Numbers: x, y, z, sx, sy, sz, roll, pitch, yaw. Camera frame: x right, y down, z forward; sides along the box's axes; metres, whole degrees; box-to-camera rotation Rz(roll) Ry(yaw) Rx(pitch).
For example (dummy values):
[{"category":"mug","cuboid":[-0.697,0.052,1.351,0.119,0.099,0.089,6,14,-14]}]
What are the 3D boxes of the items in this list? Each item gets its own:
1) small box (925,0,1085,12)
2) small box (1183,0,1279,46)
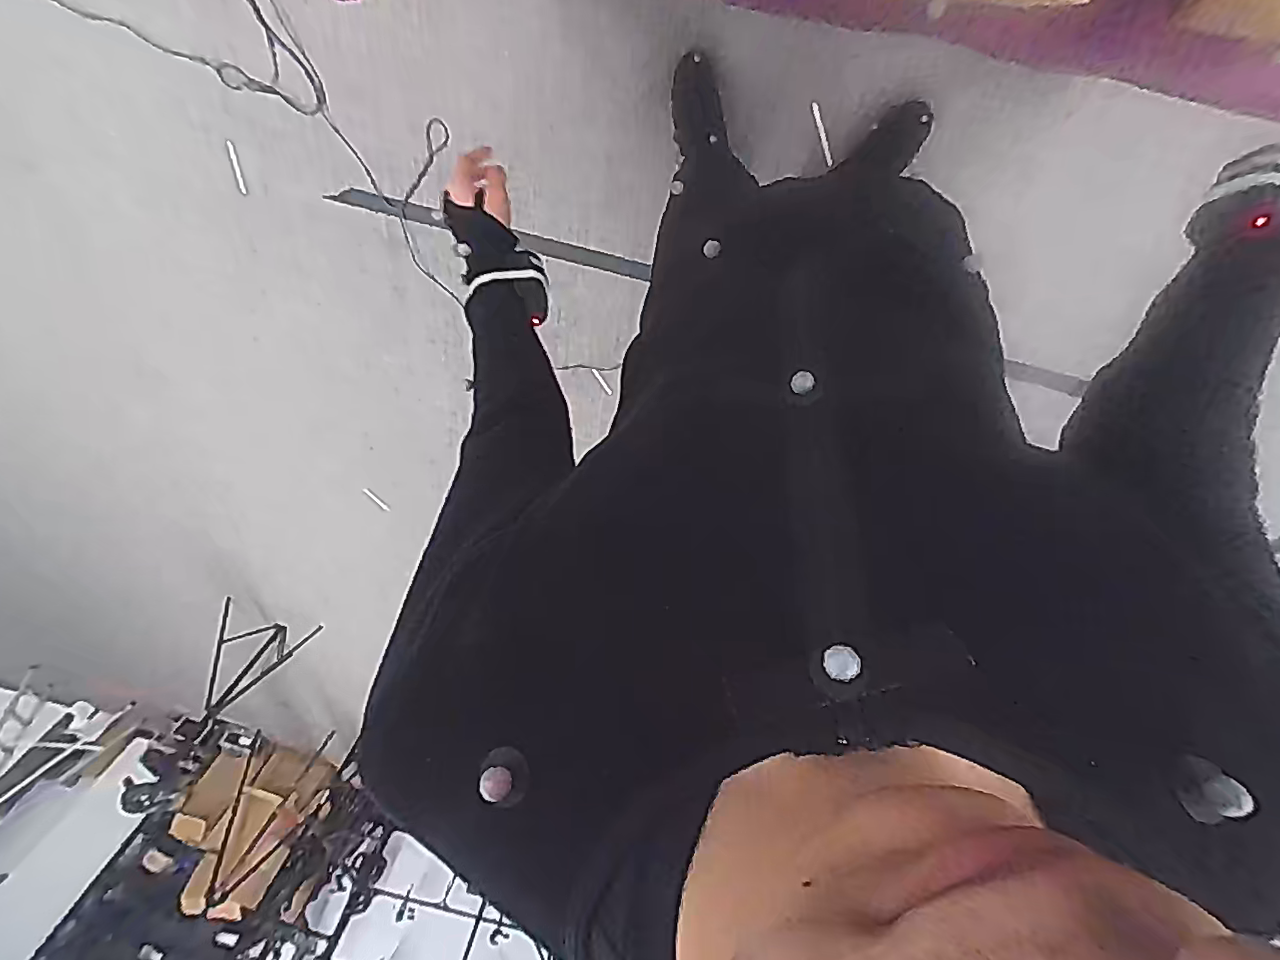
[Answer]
[{"category":"small box","cuboid":[0.292,-0.500,0.431,0.168,0.176,0.179,13,132,5]},{"category":"small box","cuboid":[0.585,-0.438,0.403,0.168,0.176,0.179,14,132,5]}]
